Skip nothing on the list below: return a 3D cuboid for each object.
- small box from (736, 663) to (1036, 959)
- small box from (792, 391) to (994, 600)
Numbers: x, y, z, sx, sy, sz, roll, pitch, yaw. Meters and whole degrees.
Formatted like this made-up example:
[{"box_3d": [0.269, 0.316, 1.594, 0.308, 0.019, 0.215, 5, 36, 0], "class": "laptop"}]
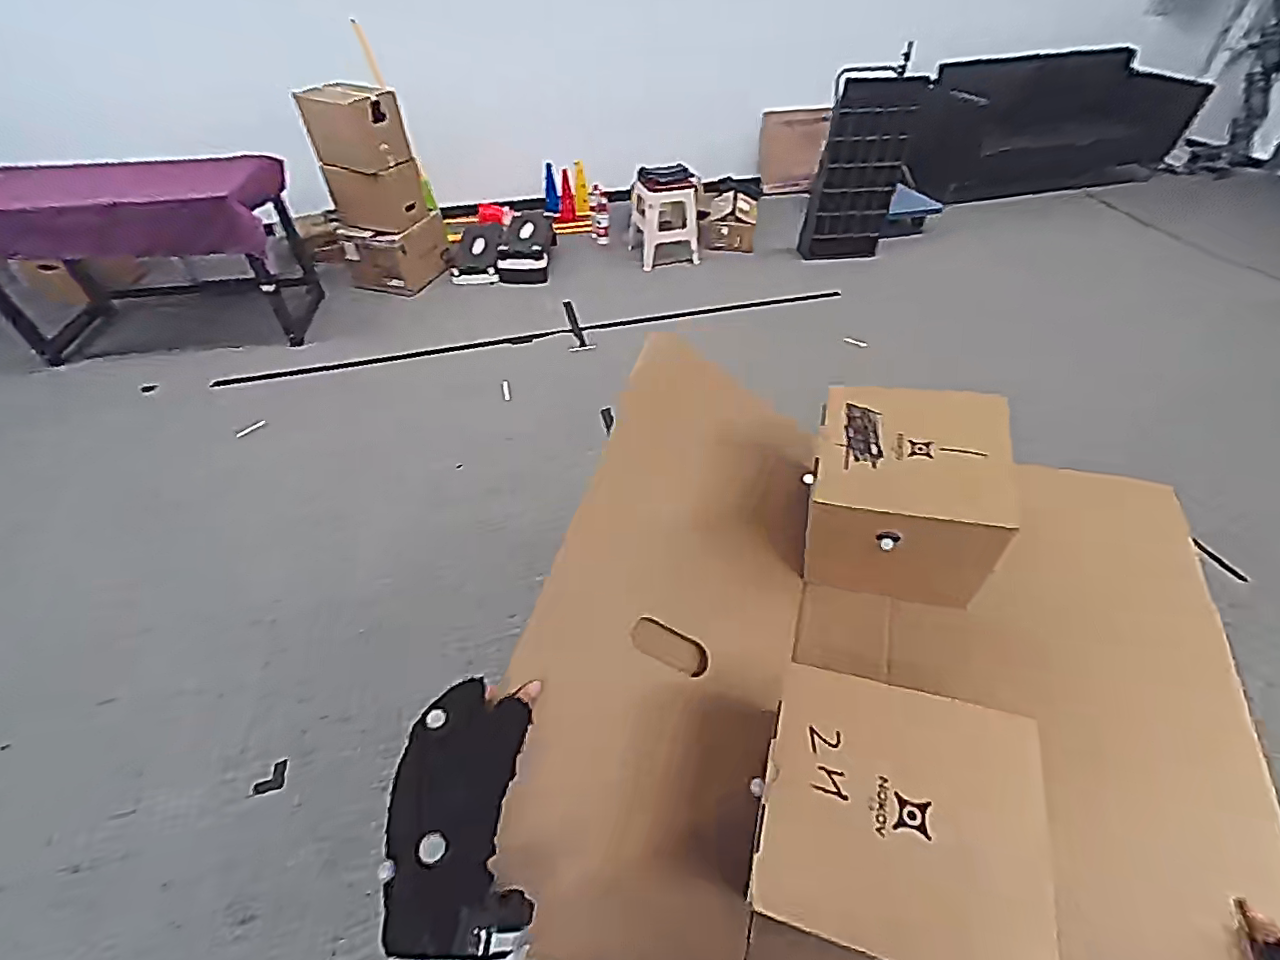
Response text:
[{"box_3d": [0.184, 0.272, 0.437, 0.179, 0.176, 0.168, 7, 55, 19], "class": "small box"}, {"box_3d": [0.269, 0.019, 0.610, 0.179, 0.176, 0.168, 6, 55, 18], "class": "small box"}]
